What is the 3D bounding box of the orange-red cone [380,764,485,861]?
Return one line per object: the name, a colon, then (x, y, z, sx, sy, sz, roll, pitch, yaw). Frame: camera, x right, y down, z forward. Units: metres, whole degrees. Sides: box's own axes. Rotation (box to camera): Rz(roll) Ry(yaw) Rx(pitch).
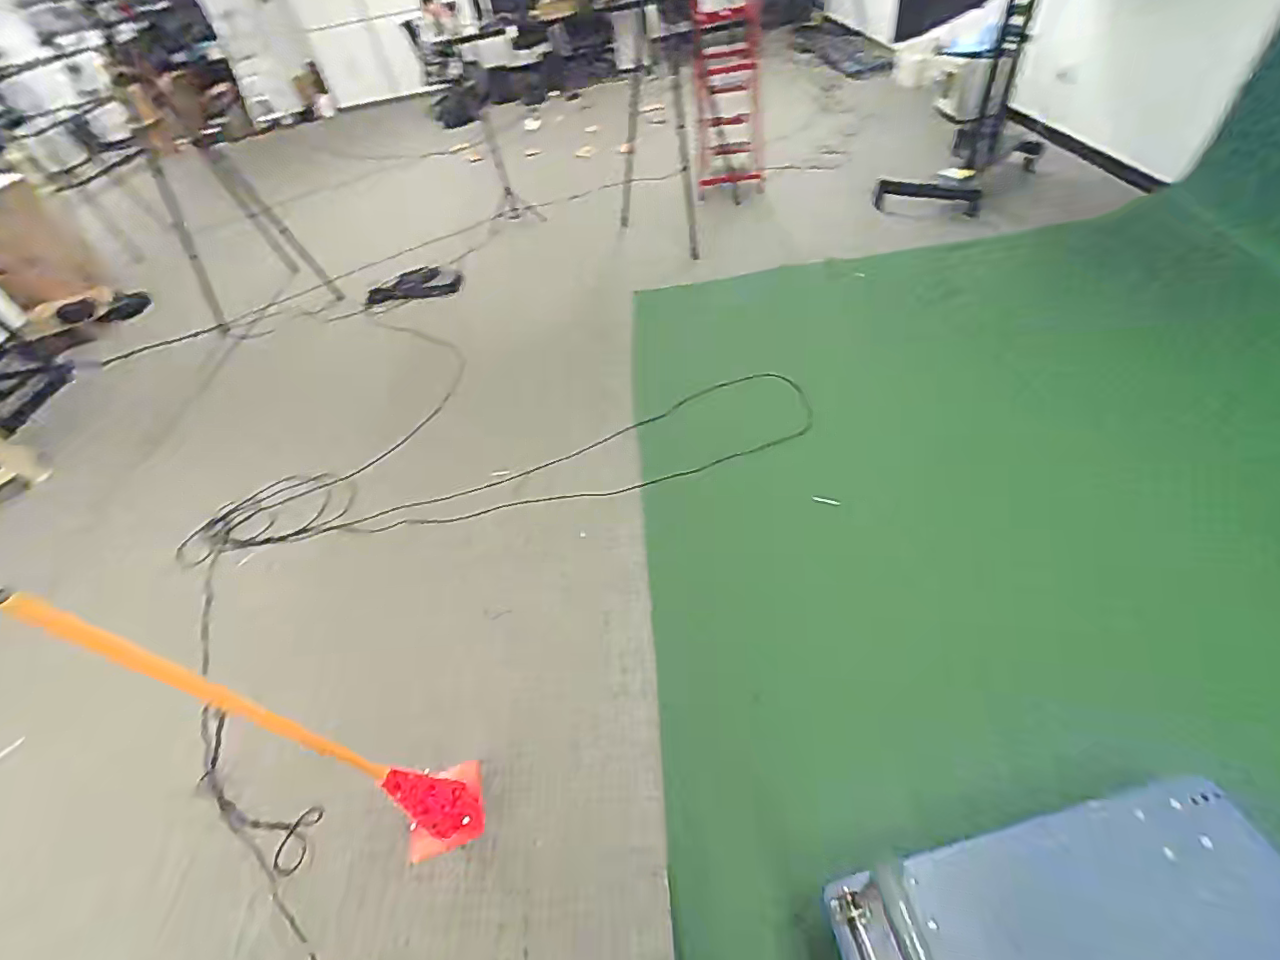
orange-red cone: (-0.550, 0.787, 1.355, 0.198, 0.360, 0.199, -18, 46, -6)
